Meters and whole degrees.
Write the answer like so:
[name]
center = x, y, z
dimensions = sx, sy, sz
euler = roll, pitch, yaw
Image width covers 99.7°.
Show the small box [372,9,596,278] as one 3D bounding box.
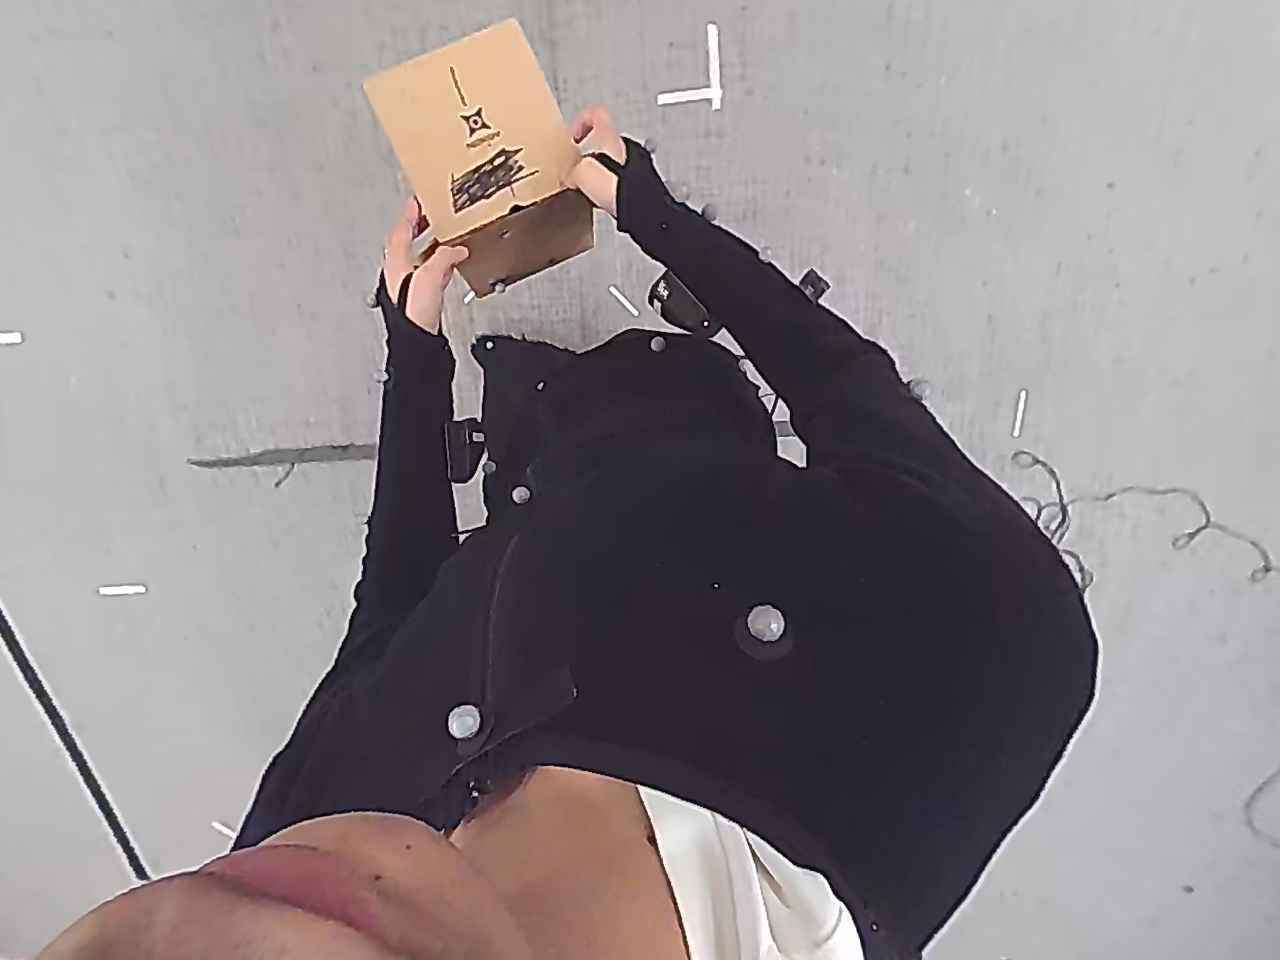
[small box]
center = -0.155, -0.349, 0.603
dimensions = 0.168, 0.176, 0.179
euler = -24, 93, -4
